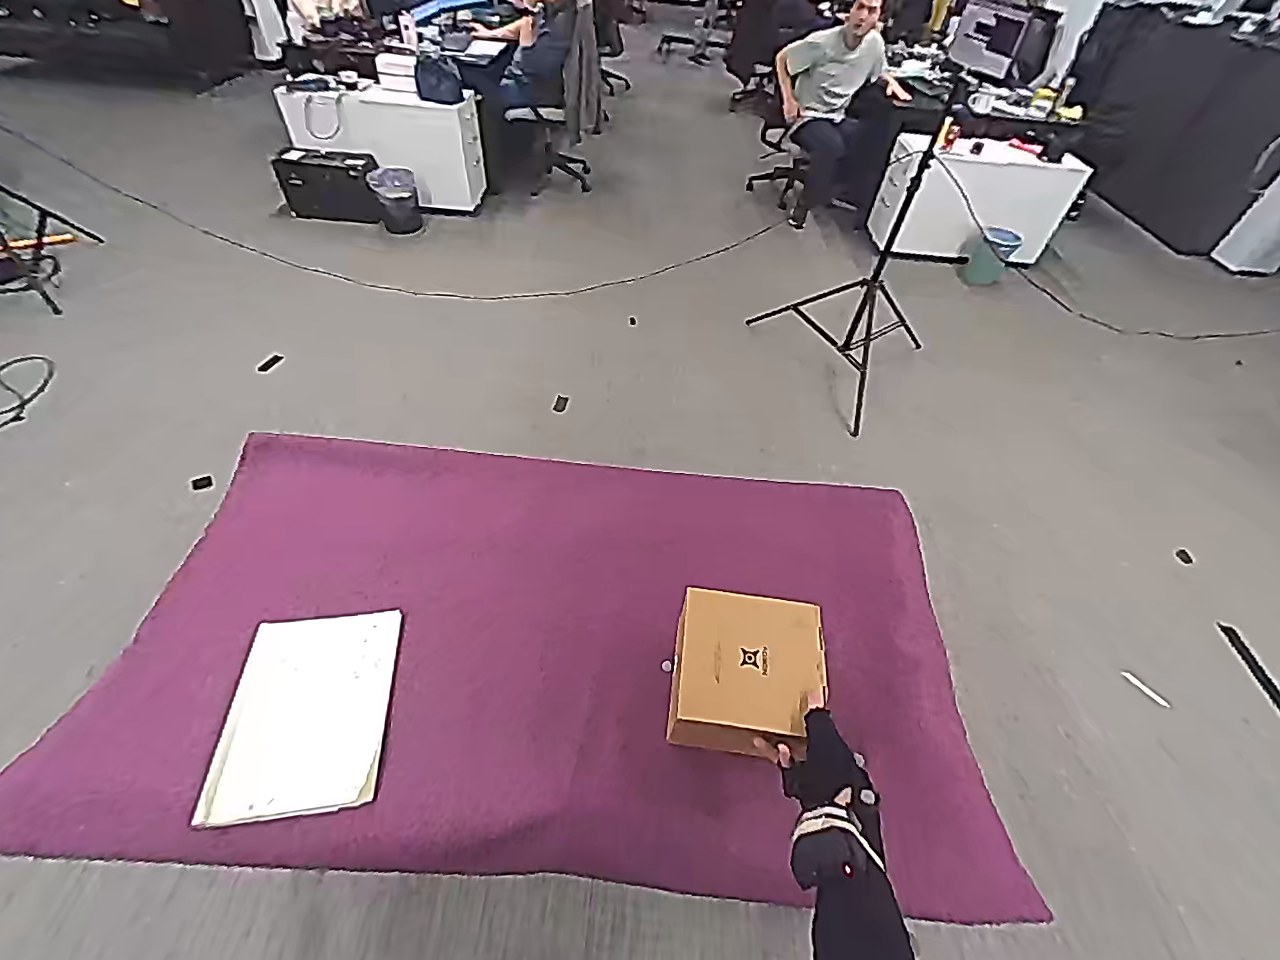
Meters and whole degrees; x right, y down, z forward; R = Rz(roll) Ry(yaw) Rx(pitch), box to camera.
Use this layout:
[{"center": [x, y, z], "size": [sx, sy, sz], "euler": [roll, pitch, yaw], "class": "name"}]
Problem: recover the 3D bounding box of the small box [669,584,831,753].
[{"center": [0.138, 0.257, 0.722], "size": [0.179, 0.176, 0.168], "euler": [6, 55, 3], "class": "small box"}]
